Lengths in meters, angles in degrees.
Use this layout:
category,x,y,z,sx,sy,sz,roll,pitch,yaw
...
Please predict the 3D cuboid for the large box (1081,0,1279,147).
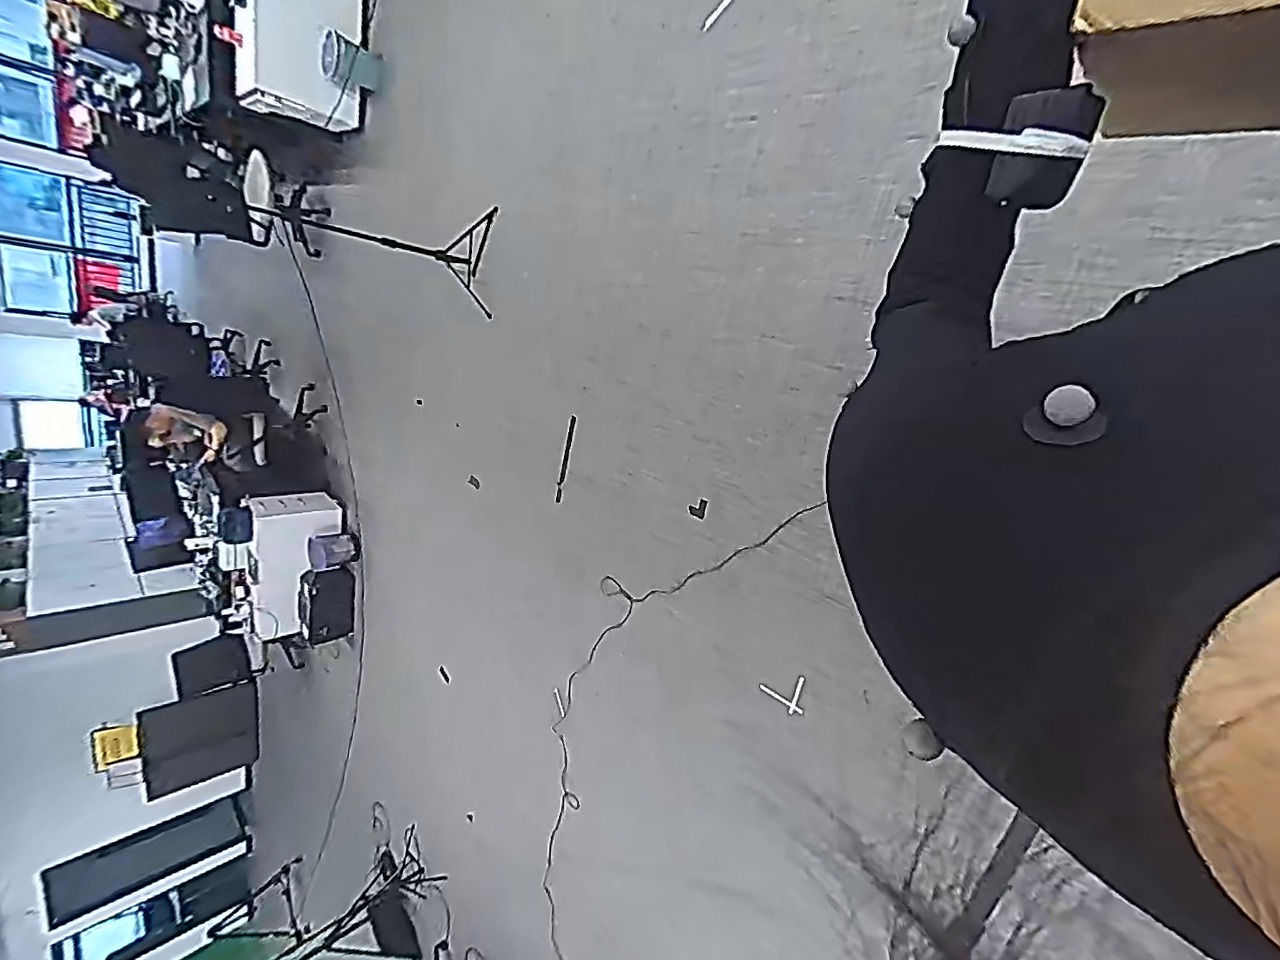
category,x,y,z,sx,sy,sz,roll,pitch,yaw
large box,0.520,-0.383,0.265,0.408,0.320,0.320,21,119,36
